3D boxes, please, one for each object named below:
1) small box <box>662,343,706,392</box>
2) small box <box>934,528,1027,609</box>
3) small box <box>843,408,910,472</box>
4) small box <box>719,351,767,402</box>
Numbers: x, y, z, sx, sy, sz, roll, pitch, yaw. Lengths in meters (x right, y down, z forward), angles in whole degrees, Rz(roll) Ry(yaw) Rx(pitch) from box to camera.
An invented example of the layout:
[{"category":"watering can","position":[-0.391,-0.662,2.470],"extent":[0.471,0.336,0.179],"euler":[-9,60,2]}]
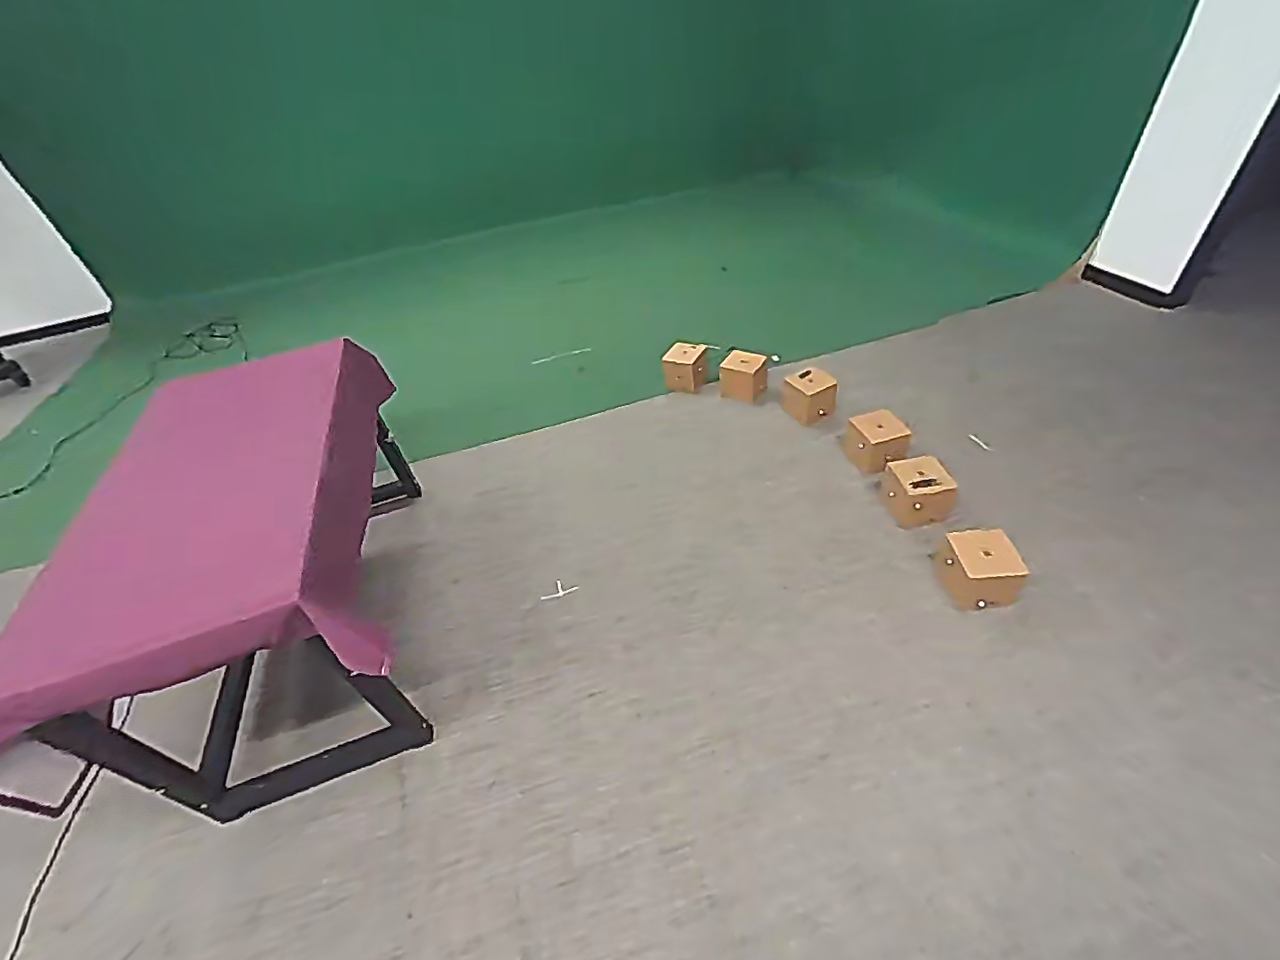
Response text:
[{"category":"small box","position":[0.226,-0.559,2.697],"extent":[0.168,0.176,0.179],"euler":[16,49,25]},{"category":"small box","position":[1.026,0.270,1.648],"extent":[0.168,0.176,0.179],"euler":[-5,43,6]},{"category":"small box","position":[0.921,-0.150,2.119],"extent":[0.168,0.176,0.179],"euler":[-15,42,-6]},{"category":"small box","position":[0.492,-0.493,2.578],"extent":[0.179,0.176,0.168],"euler":[20,49,28]}]
